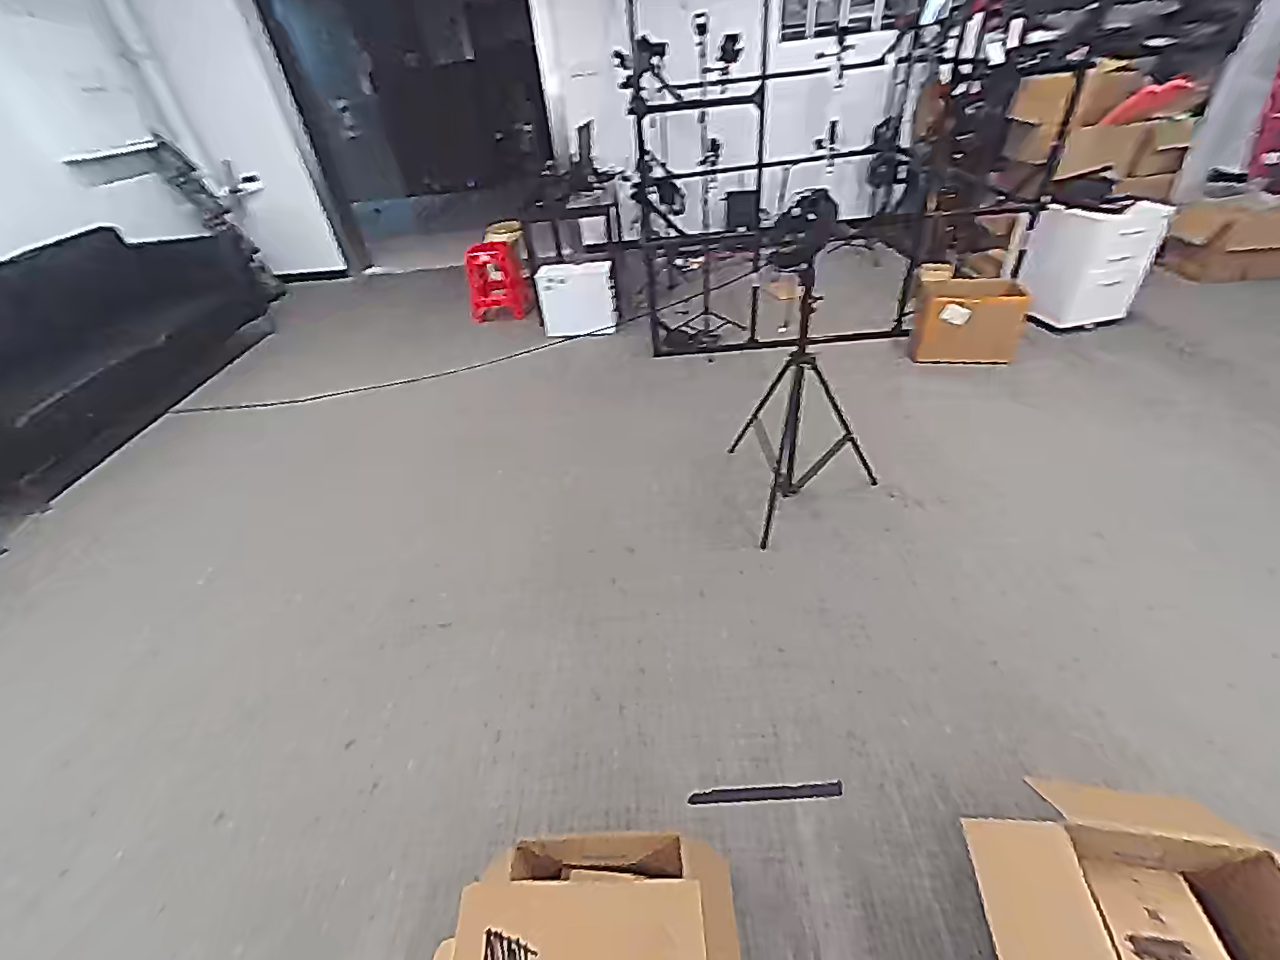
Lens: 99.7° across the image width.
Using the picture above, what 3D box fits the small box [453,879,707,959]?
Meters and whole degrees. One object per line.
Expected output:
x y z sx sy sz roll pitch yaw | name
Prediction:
-0.041 0.411 0.394 0.179 0.176 0.168 0 43 -2 | small box
